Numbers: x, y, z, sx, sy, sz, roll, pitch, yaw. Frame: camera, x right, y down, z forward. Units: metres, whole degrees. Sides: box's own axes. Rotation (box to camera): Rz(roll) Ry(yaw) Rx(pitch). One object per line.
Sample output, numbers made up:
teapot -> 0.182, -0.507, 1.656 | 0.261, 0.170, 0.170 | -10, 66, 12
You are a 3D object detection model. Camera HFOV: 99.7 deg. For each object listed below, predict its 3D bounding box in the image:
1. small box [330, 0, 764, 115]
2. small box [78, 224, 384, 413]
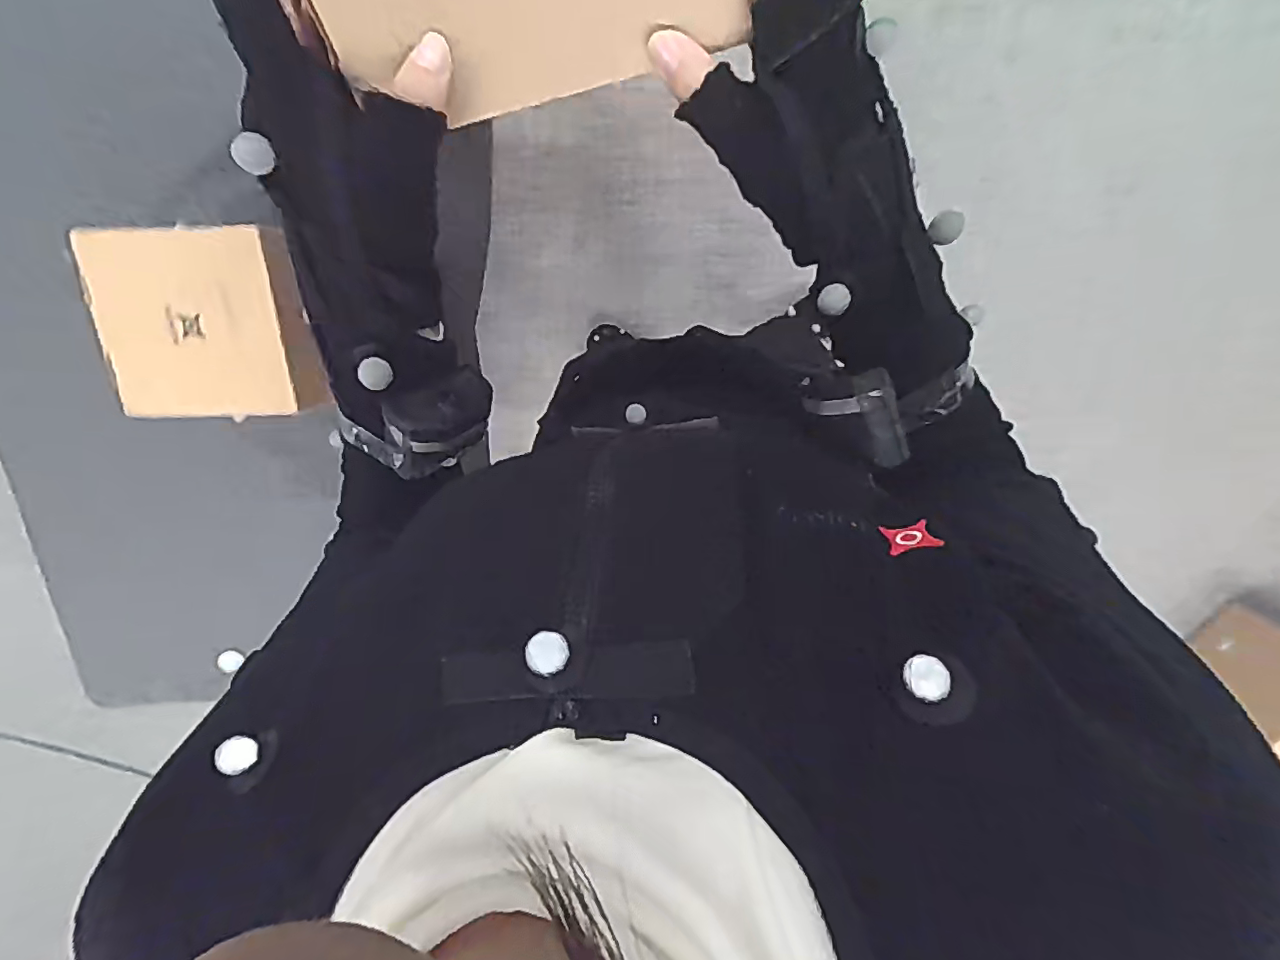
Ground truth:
small box -> -0.054, -0.286, 0.232 | 0.179, 0.176, 0.168 | -15, 133, 4
small box -> -0.408, -0.168, 0.575 | 0.179, 0.176, 0.168 | -2, 108, 3
